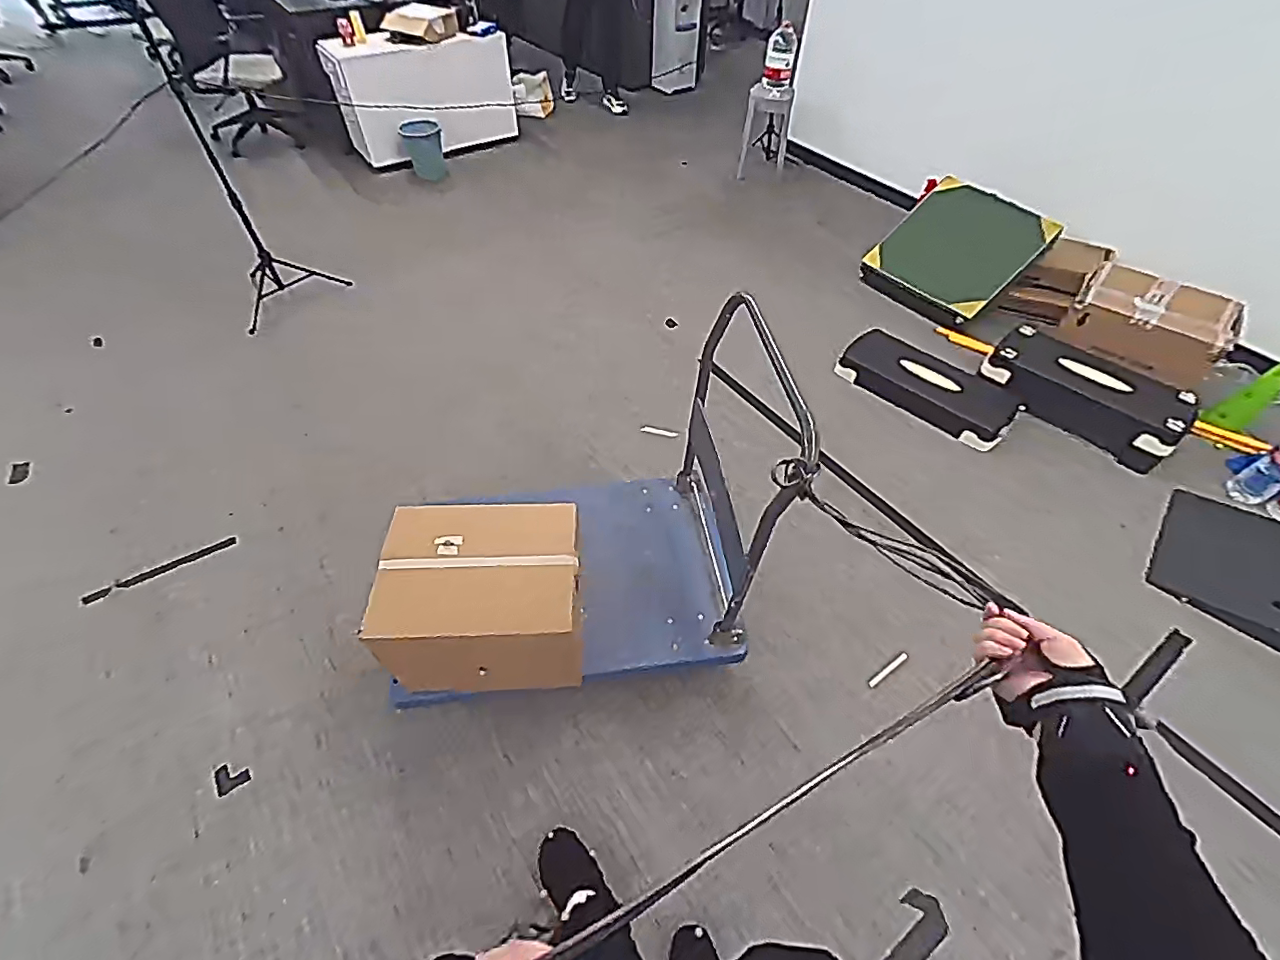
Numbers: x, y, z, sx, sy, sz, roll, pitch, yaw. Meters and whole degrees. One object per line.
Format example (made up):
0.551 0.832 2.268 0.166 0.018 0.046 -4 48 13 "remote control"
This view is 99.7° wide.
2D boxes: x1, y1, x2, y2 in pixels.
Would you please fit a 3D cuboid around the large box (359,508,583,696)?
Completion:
-0.338 0.282 1.229 0.408 0.320 0.320 -2 50 -2 "large box"
